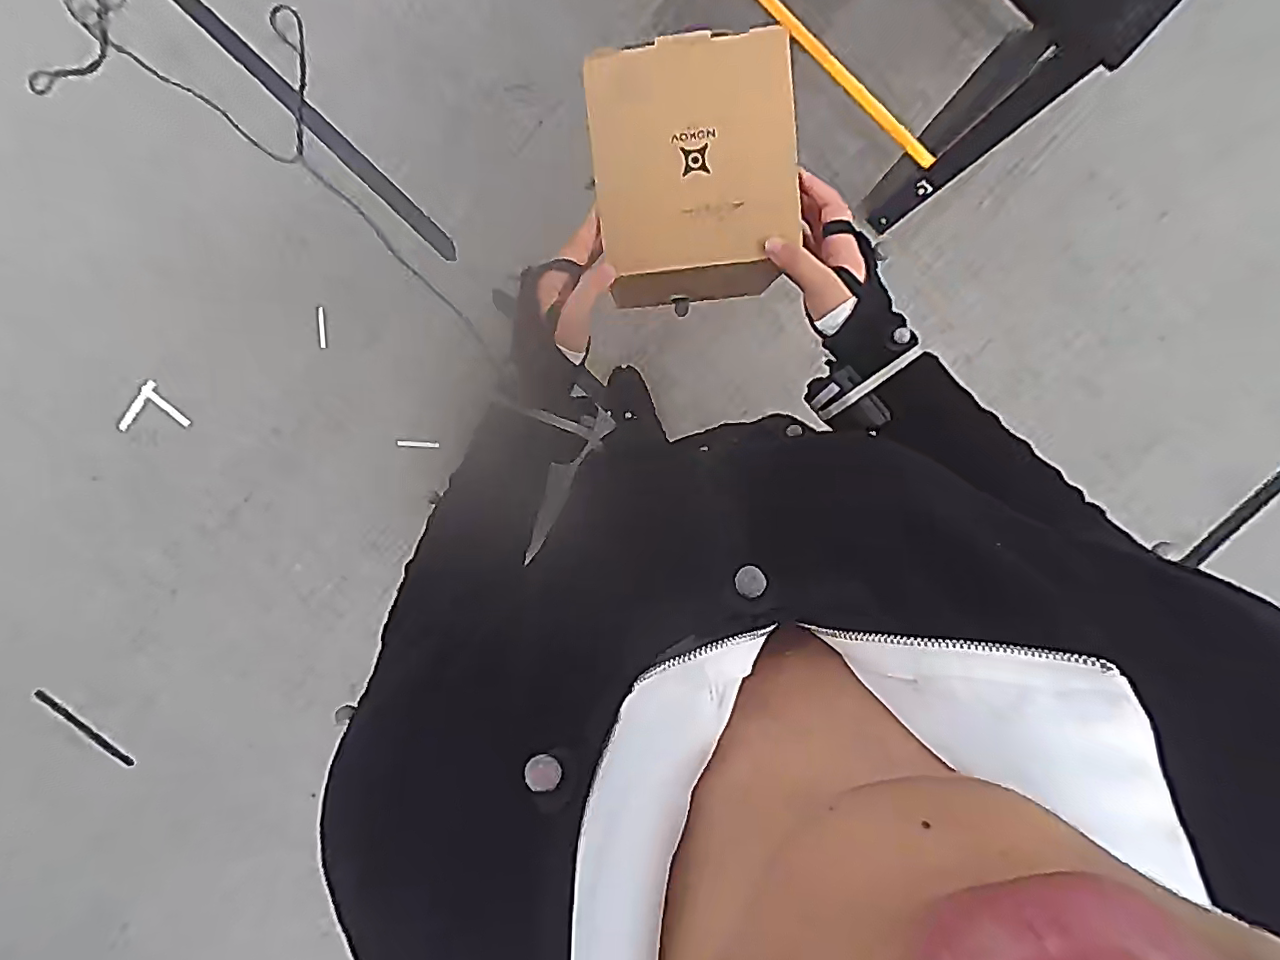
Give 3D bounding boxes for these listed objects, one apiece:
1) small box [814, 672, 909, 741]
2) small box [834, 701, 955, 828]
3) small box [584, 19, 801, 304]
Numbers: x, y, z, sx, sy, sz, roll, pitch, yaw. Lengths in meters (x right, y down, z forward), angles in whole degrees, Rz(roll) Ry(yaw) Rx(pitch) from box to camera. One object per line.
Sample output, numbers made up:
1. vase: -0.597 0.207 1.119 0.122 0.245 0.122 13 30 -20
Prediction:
1. small box: 0.607 0.655 1.475 0.179 0.176 0.168 44 98 -3
2. small box: 0.604 0.677 1.310 0.168 0.176 0.179 42 99 -4
3. small box: 0.043 -0.277 0.511 0.168 0.176 0.179 -6 99 2
